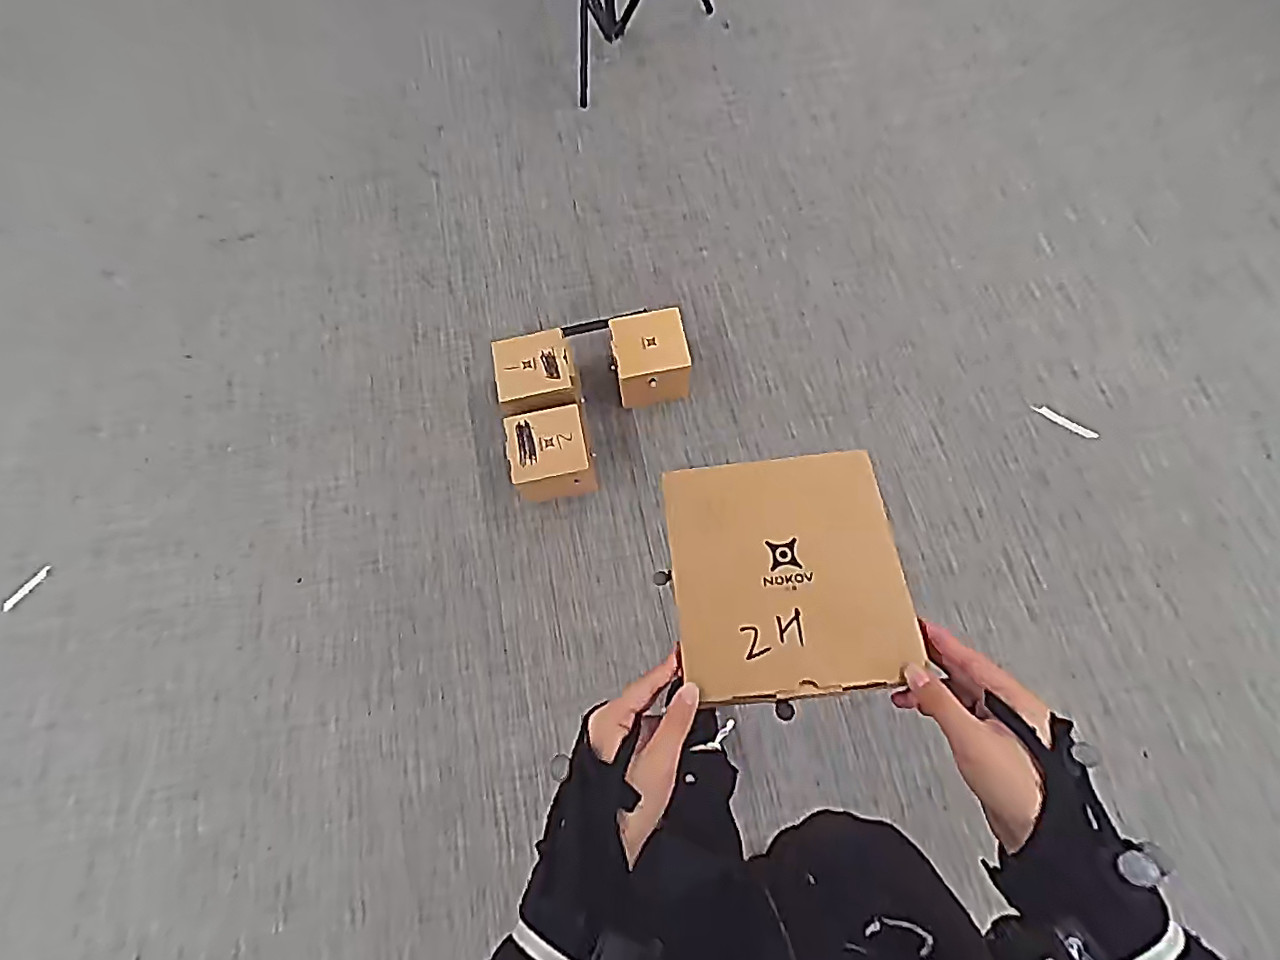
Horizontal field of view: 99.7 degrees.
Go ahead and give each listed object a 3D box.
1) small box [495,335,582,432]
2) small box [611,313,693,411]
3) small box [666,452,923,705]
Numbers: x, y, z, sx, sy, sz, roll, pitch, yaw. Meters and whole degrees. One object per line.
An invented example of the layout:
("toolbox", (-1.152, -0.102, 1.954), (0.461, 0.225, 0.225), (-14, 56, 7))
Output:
("small box", (-0.249, -0.238, 1.366), (0.179, 0.176, 0.168), (-12, 72, 0))
("small box", (0.030, -0.294, 1.371), (0.179, 0.176, 0.168), (-11, 72, 0))
("small box", (0.112, 0.096, 0.476), (0.168, 0.176, 0.179), (-7, 66, 3))
